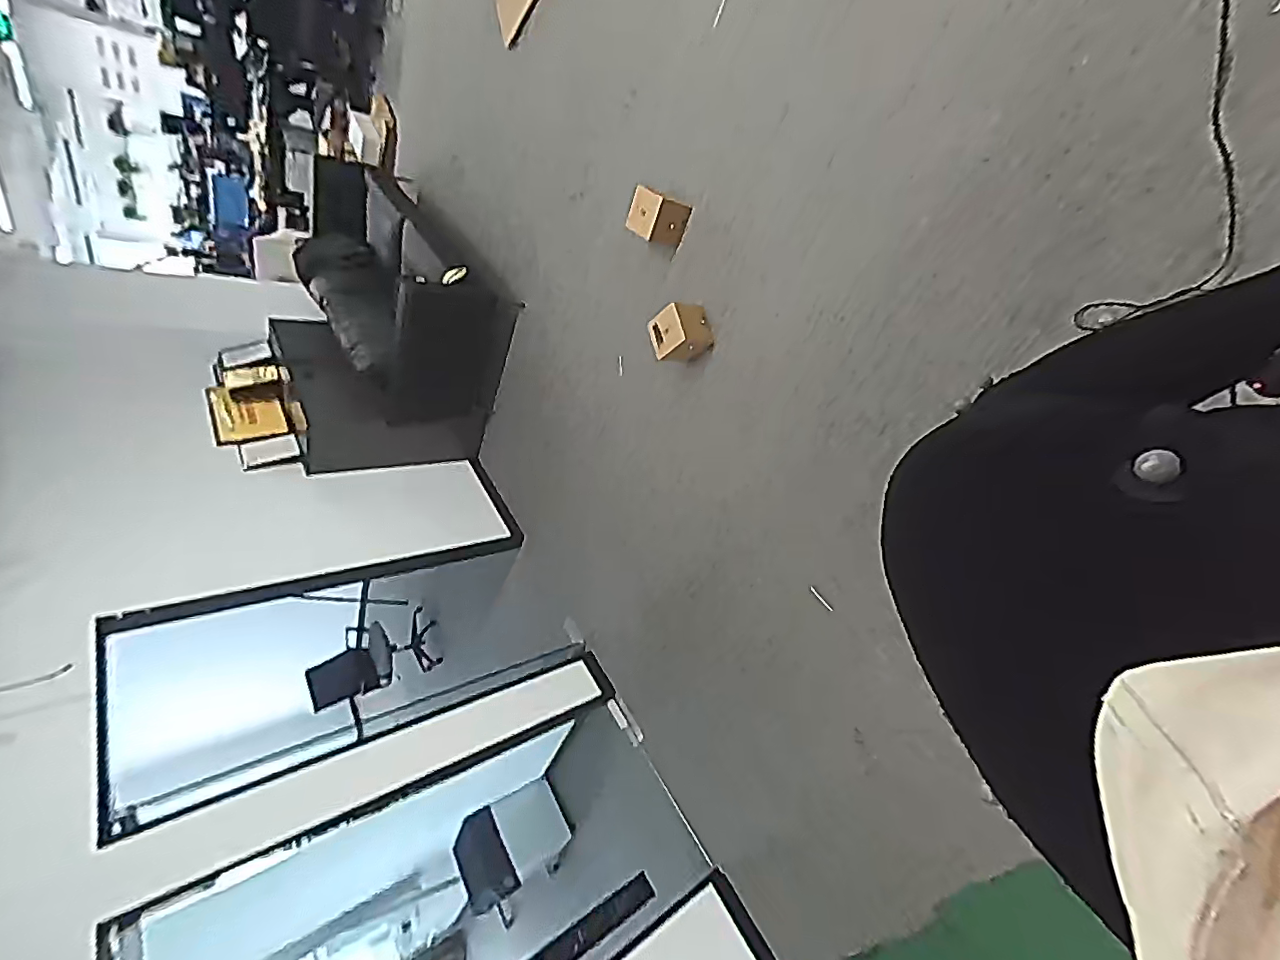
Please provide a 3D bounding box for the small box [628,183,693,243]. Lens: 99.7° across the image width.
[{"bbox_3d":[0.086,-1.080,2.199,0.179,0.176,0.168,48,130,34],"label":"small box"}]
